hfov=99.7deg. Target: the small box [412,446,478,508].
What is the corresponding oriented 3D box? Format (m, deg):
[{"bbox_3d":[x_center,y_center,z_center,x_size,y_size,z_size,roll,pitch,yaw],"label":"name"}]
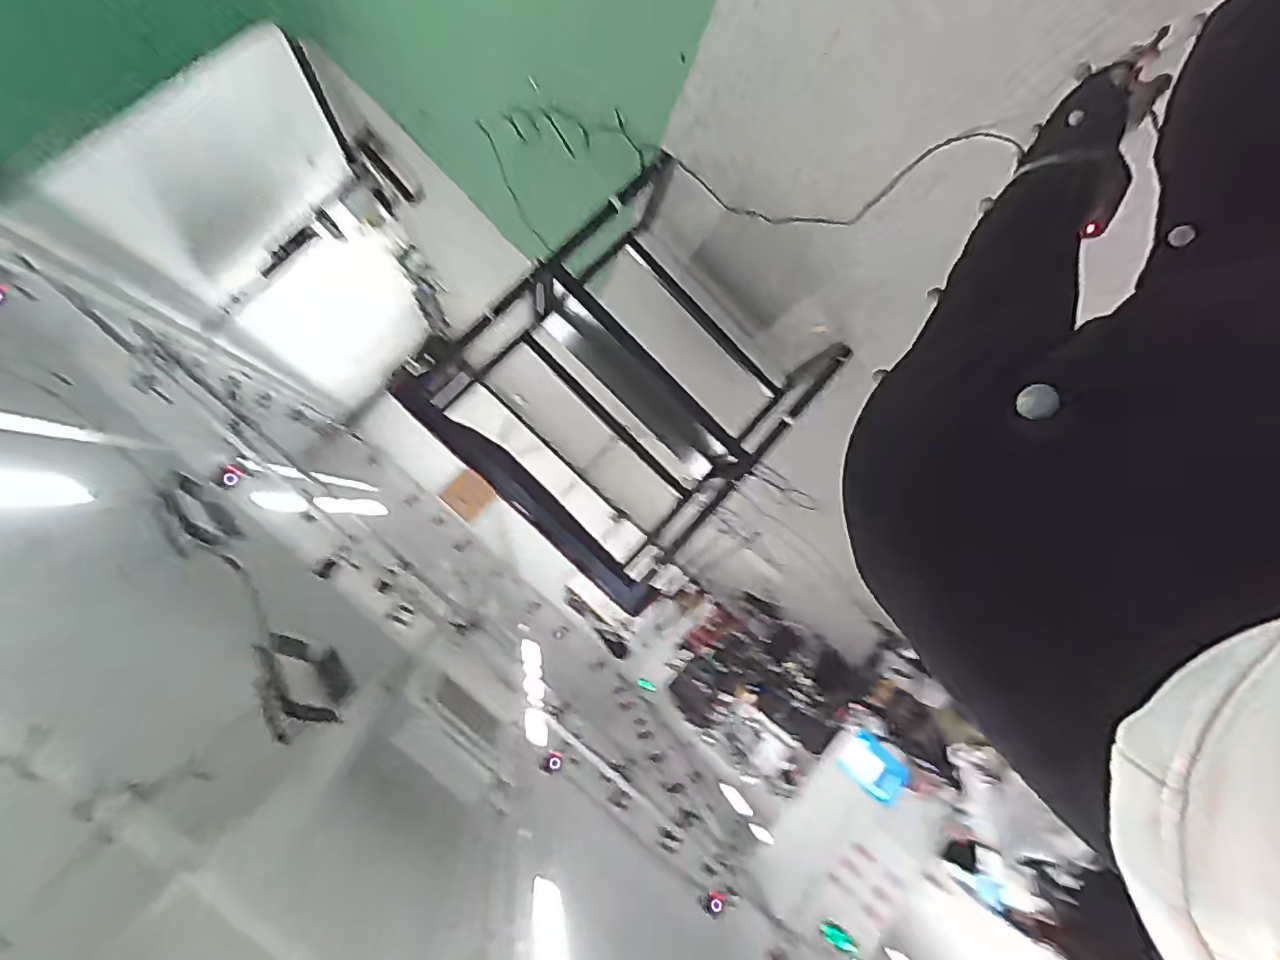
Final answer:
[{"bbox_3d":[-0.743,-0.013,2.093,0.179,0.176,0.168,45,169,-9],"label":"small box"}]
